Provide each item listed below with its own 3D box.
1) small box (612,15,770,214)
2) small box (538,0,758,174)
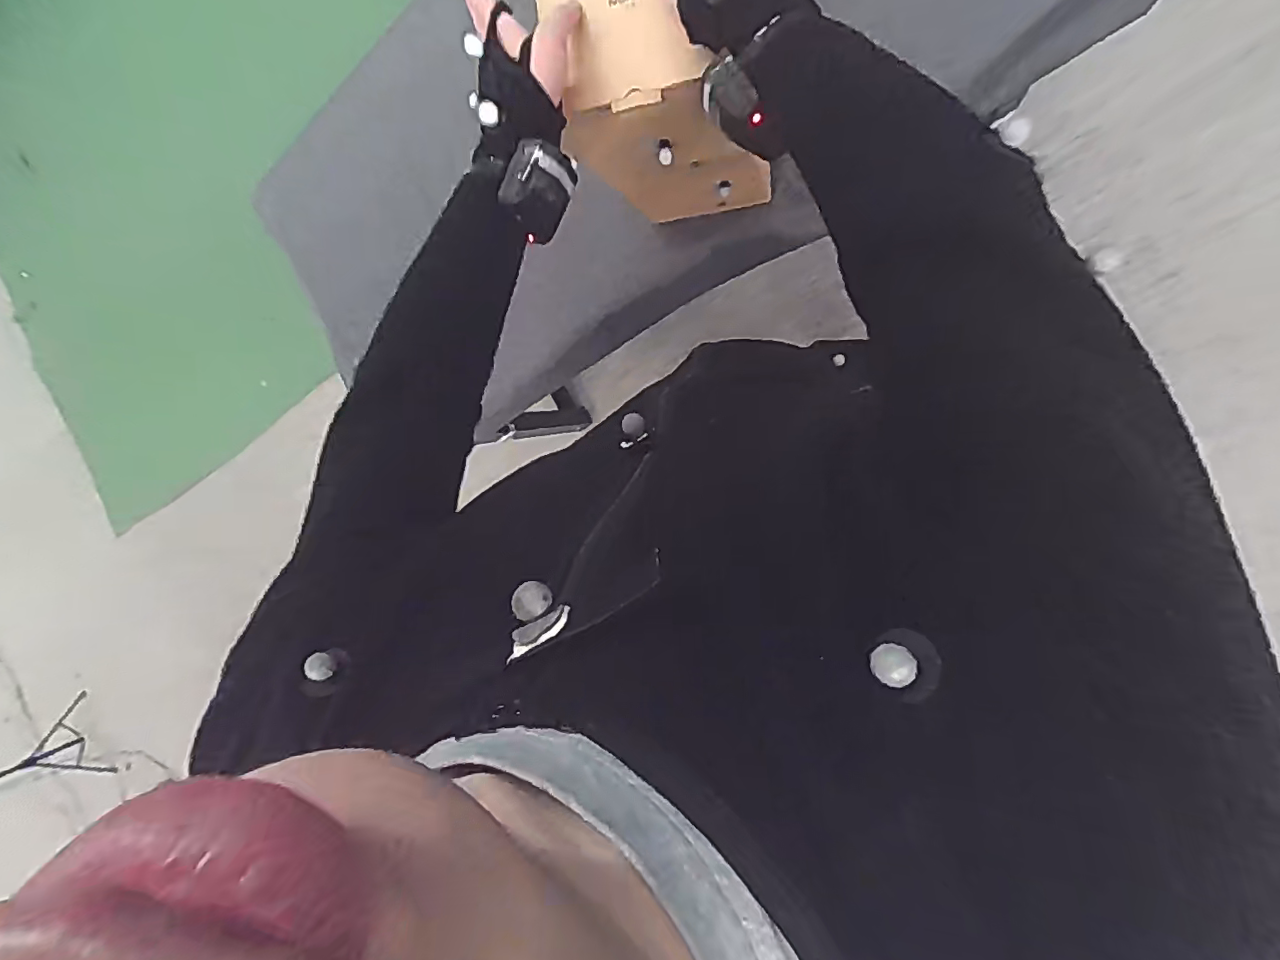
[{"bbox_3d":[0.066,-0.446,0.662,0.168,0.176,0.179,-1,97,19],"label":"small box"},{"bbox_3d":[0.018,-0.412,0.509,0.168,0.176,0.179,-1,99,19],"label":"small box"}]
